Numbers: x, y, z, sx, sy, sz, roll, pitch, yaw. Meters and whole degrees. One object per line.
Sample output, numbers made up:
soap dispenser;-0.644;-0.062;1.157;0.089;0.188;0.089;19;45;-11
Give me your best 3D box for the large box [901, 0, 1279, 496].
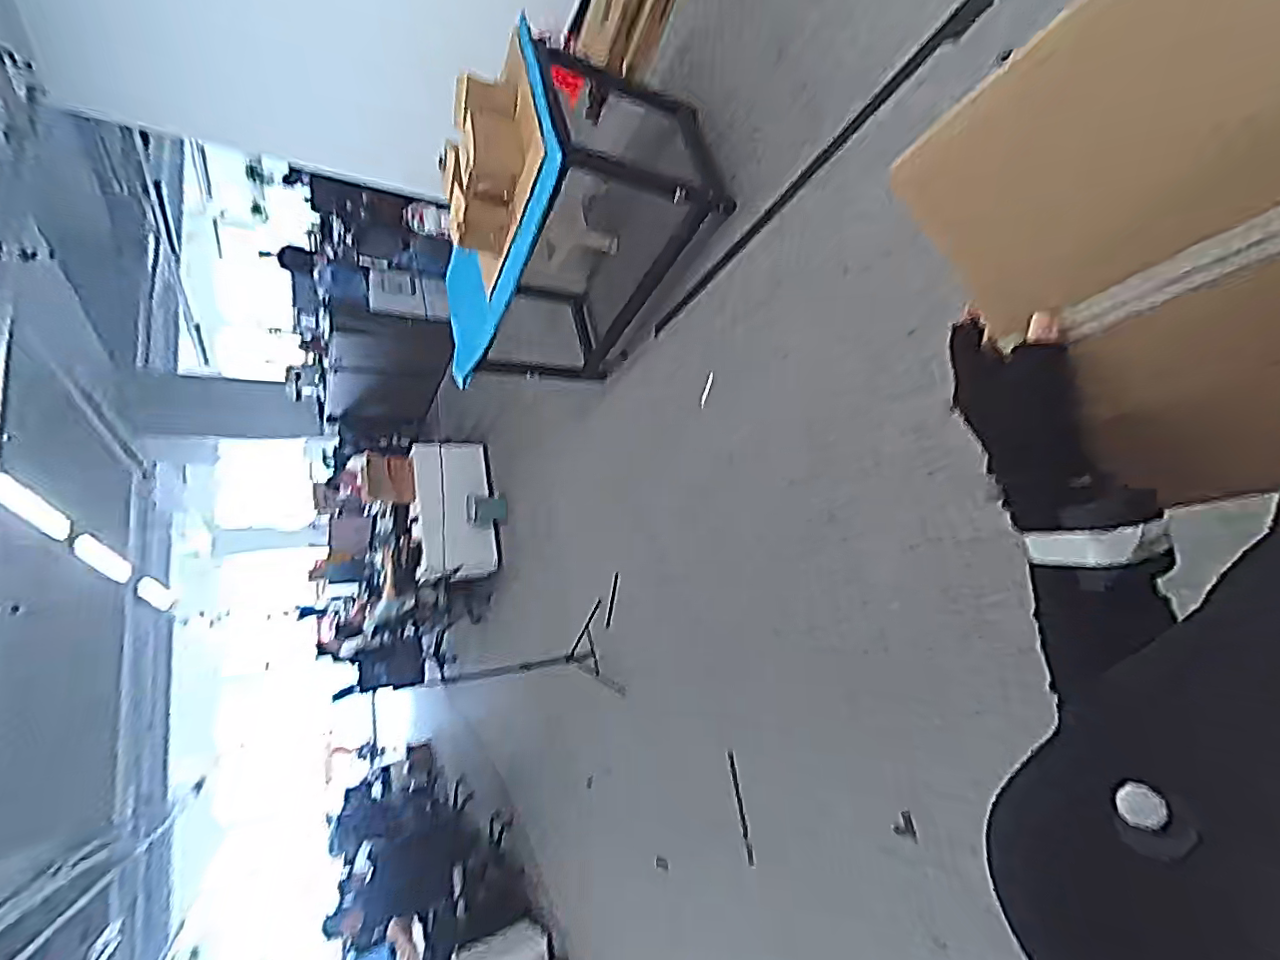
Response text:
large box;0.462;-0.241;0.317;0.320;0.320;0.408;51;148;-6
